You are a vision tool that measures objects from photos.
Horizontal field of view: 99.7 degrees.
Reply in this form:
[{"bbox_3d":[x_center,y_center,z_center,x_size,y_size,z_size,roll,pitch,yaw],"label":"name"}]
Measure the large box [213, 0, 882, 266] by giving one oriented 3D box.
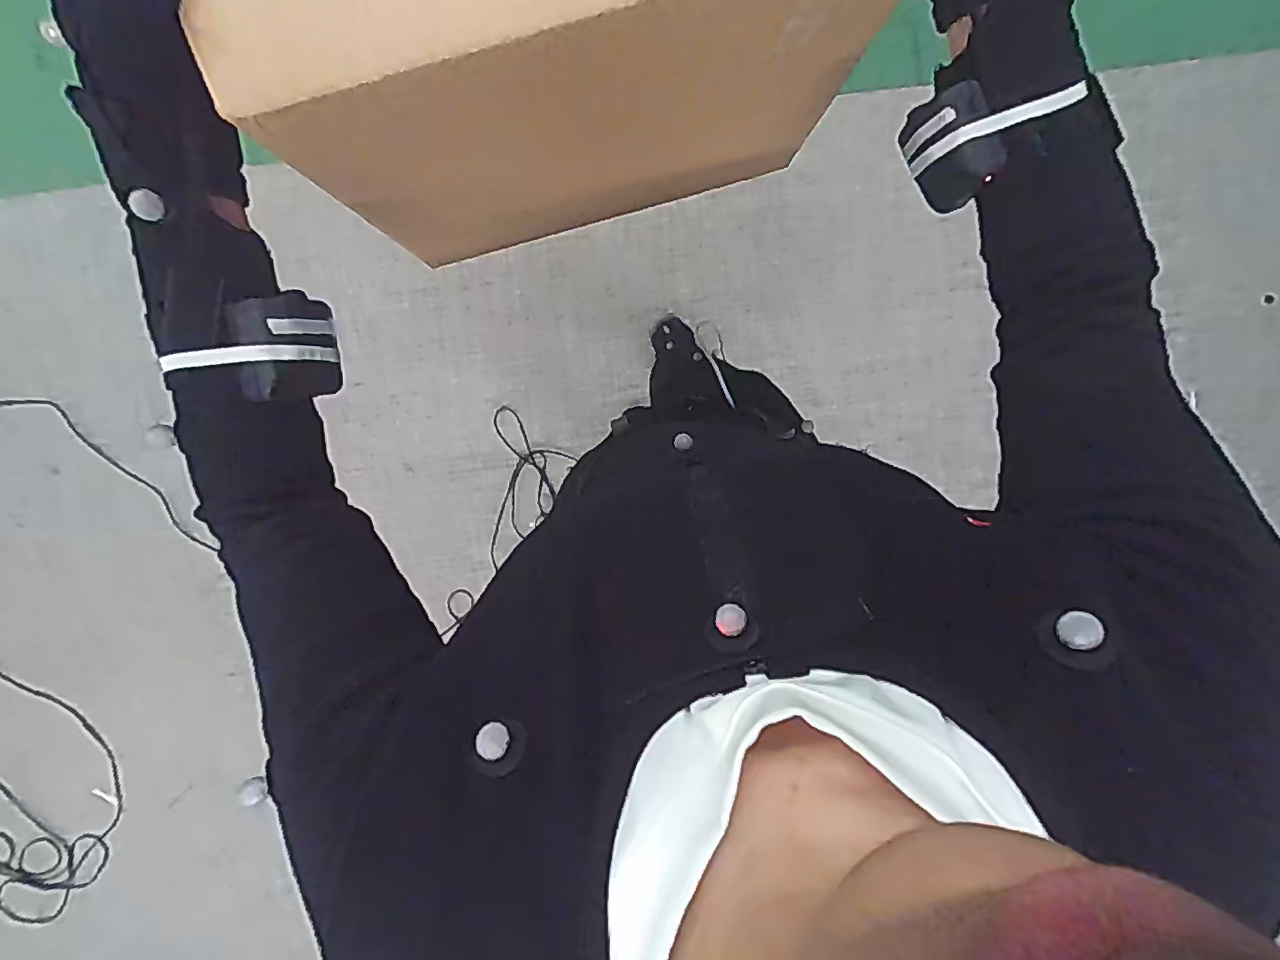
[{"bbox_3d":[-0.070,-0.413,0.422,0.408,0.320,0.320,-17,98,-1],"label":"large box"}]
